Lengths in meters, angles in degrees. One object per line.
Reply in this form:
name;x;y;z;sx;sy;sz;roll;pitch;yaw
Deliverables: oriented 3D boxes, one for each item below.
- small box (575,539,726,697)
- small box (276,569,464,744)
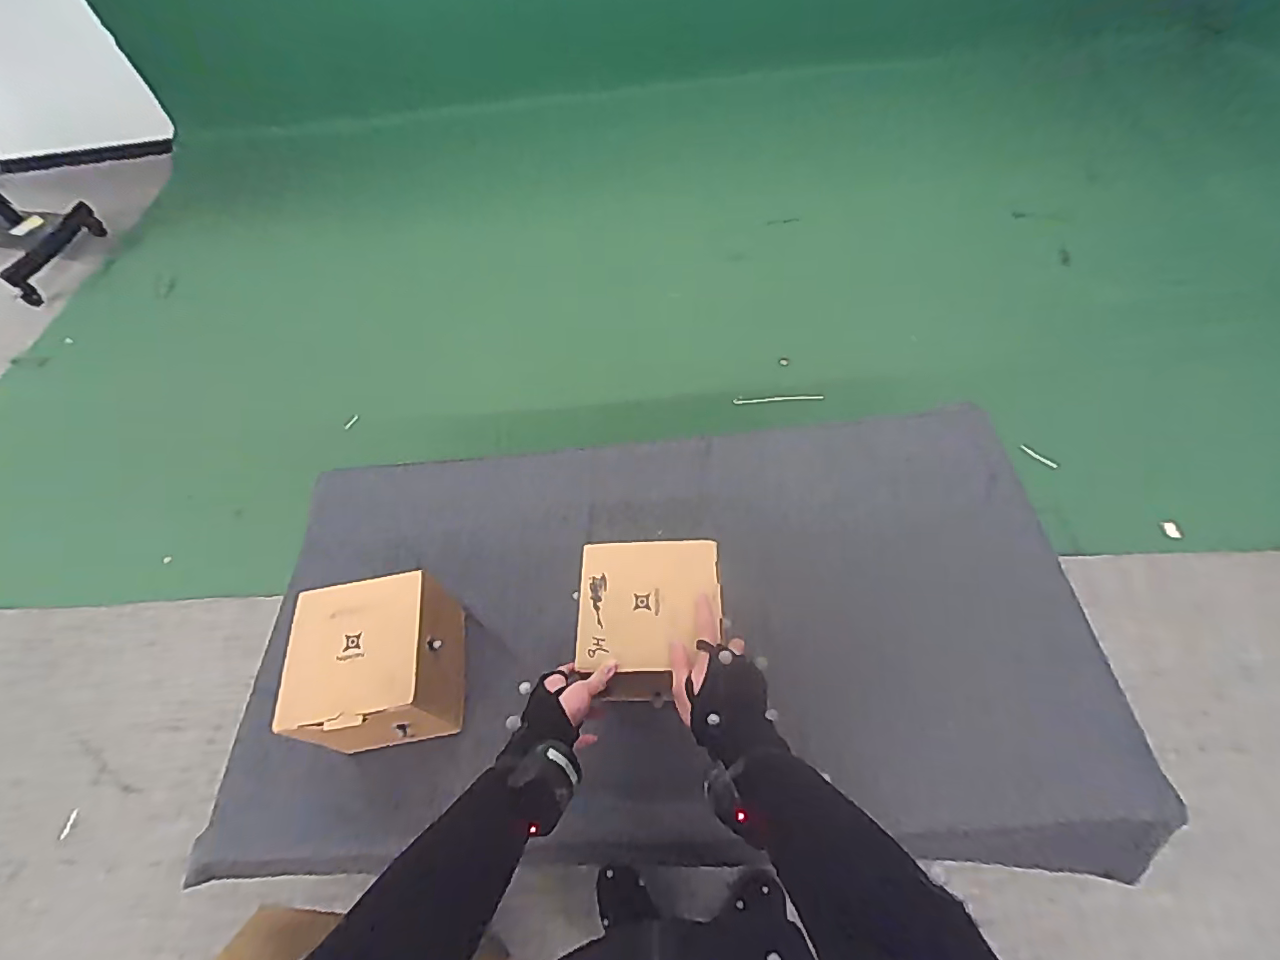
small box;0.018;0.189;0.729;0.179;0.176;0.168;-2;57;5
small box;-0.348;0.247;0.736;0.168;0.176;0.179;-11;55;-2
